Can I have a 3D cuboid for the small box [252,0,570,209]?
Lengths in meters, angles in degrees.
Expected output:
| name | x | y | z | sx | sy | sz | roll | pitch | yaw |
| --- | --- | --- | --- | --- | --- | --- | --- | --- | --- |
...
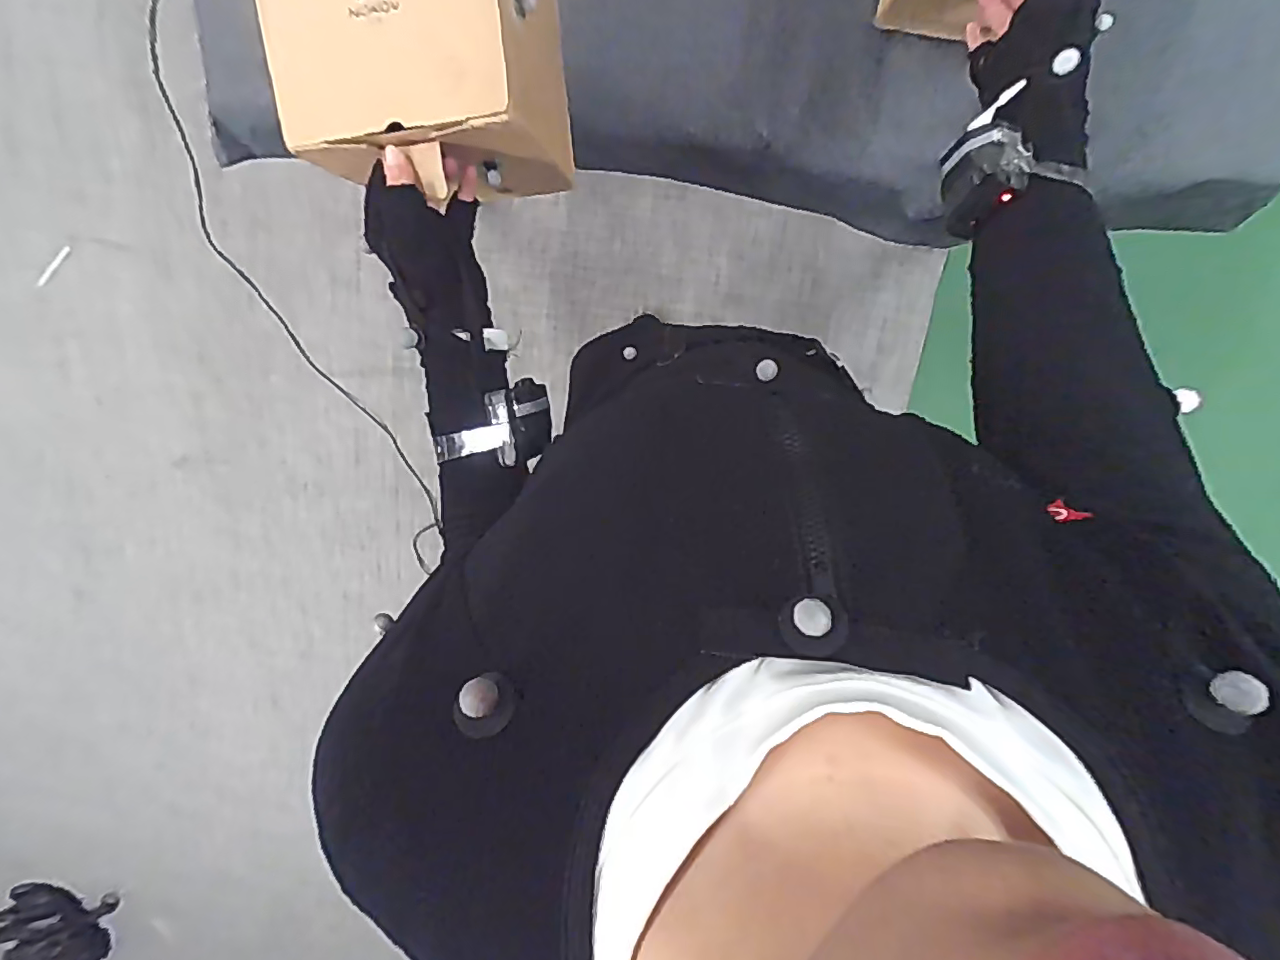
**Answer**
| name | x | y | z | sx | sy | sz | roll | pitch | yaw |
| --- | --- | --- | --- | --- | --- | --- | --- | --- | --- |
| small box | -0.158 | -0.325 | 0.418 | 0.168 | 0.176 | 0.179 | -4 | 101 | 8 |
